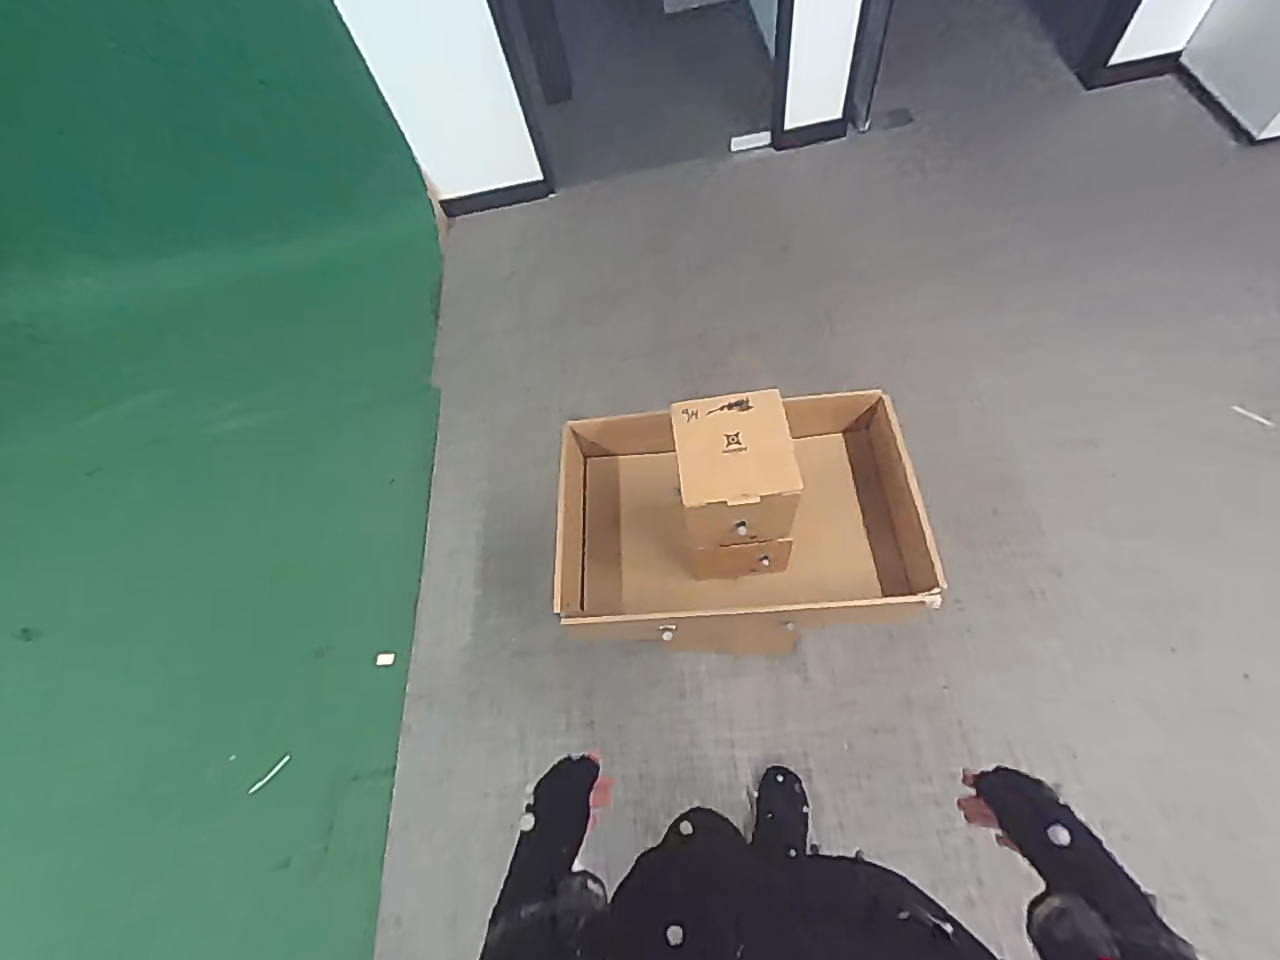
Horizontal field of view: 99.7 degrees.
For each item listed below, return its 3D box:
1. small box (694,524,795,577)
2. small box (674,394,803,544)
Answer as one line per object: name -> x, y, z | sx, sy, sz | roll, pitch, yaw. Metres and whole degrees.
small box -> 0.178, 0.070, 0.986 | 0.168, 0.176, 0.179 | -7, 60, 5
small box -> 0.148, -0.007, 0.844 | 0.168, 0.176, 0.179 | -7, 62, 5
